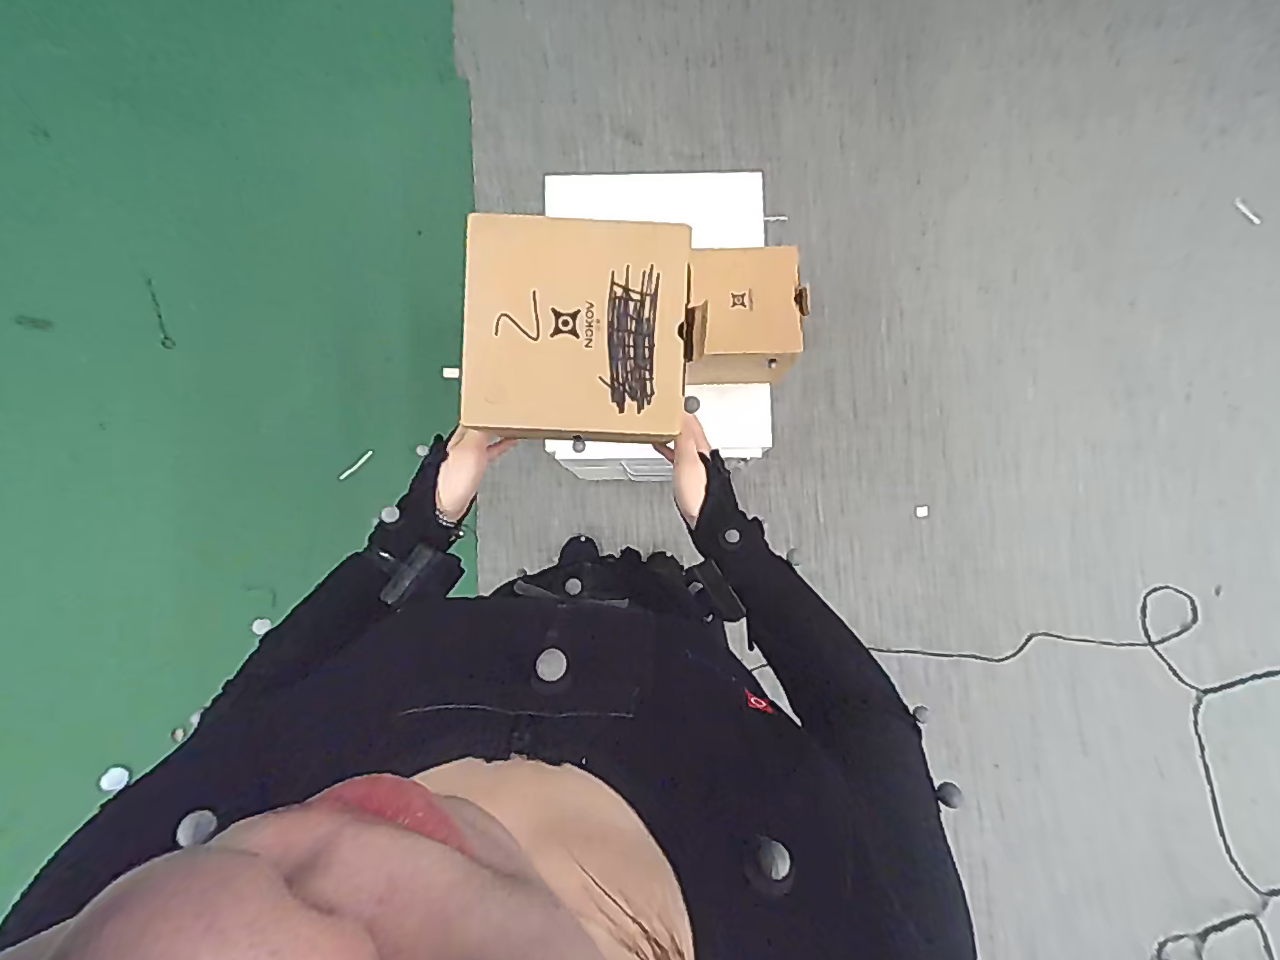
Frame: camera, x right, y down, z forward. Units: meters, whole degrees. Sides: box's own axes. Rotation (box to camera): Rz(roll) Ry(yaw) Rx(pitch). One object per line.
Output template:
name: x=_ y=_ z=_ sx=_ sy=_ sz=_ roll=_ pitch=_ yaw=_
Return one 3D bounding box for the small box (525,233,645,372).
small box: x=-0.081 y=-0.277 z=0.875 sx=0.179 sy=0.176 sz=0.168 roll=-1 pitch=86 yaw=-1
